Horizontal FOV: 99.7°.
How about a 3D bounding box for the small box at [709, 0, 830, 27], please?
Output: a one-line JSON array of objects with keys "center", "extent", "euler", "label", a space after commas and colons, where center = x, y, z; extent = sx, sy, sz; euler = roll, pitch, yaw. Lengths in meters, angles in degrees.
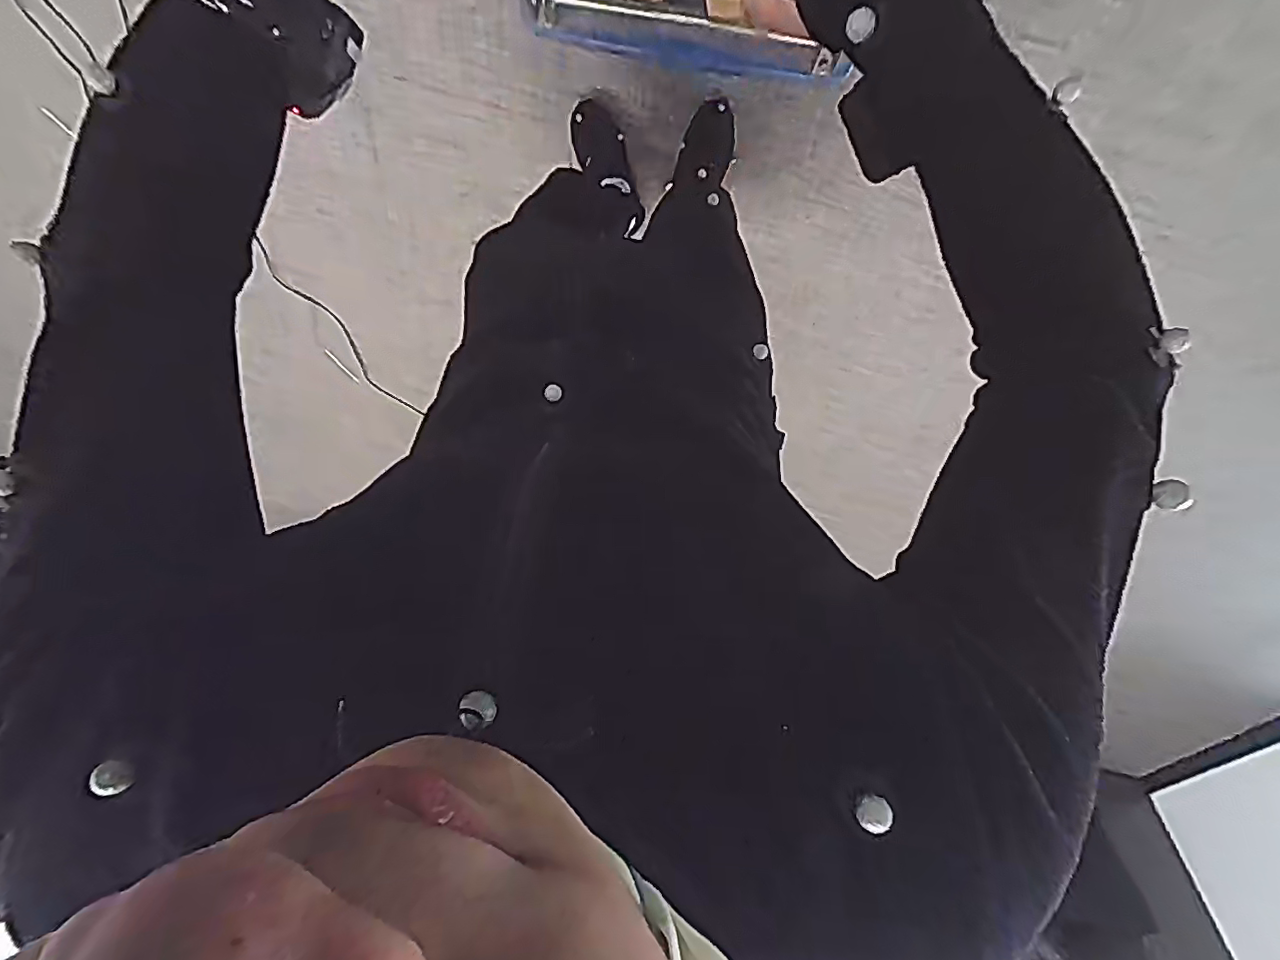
[{"center": [0.194, -0.770, 0.768], "extent": [0.179, 0.176, 0.168], "euler": [8, 122, 3], "label": "small box"}]
